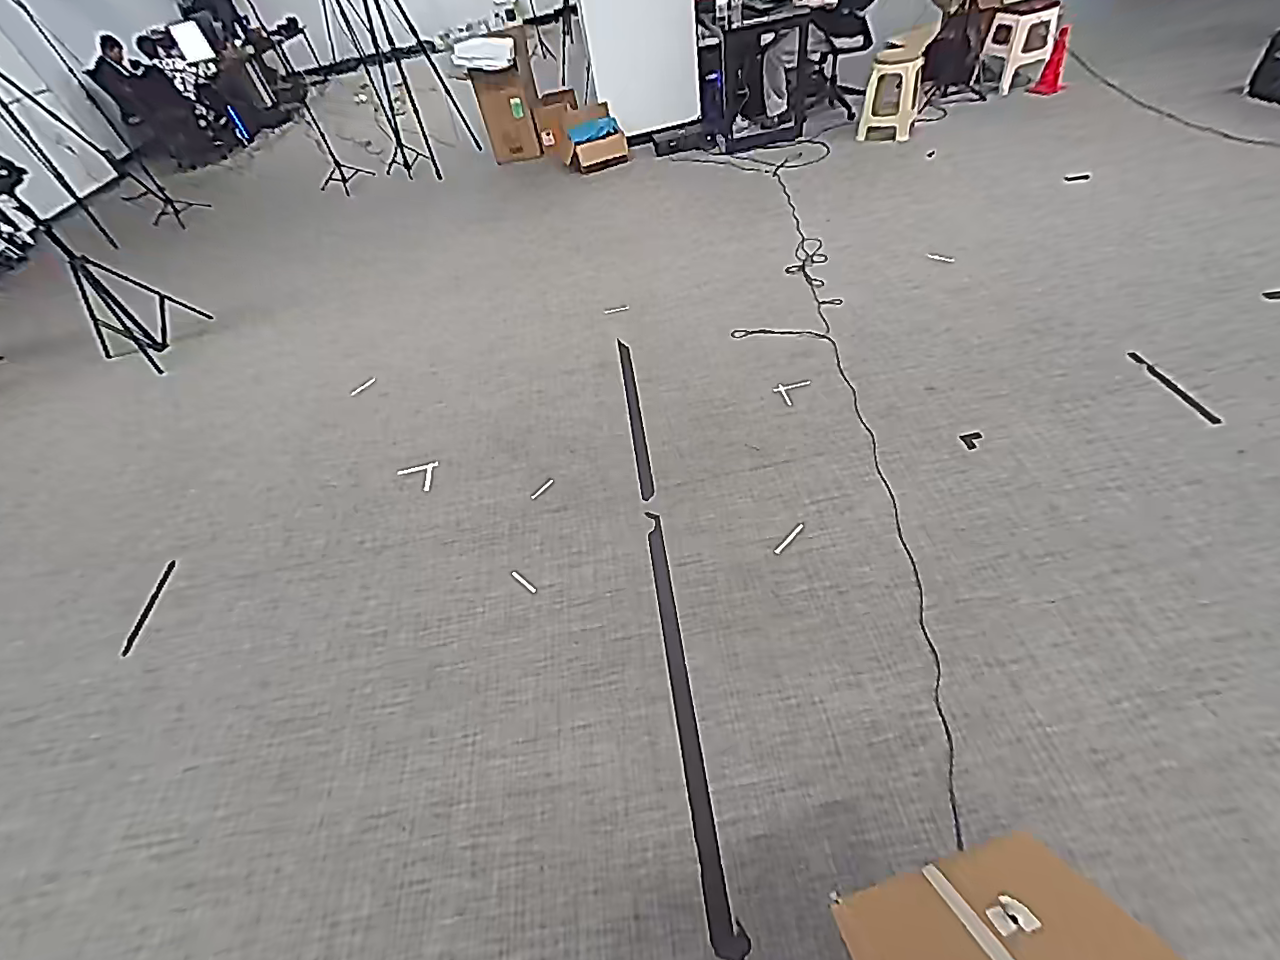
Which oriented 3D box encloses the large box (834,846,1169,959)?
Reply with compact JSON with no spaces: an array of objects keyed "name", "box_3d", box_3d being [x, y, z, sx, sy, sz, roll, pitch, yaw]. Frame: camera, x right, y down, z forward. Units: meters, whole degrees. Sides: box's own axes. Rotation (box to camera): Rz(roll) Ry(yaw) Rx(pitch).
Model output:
[{"name":"large box","box_3d":[0.474,0.706,0.586,0.320,0.408,0.320,-19,81,0]}]
